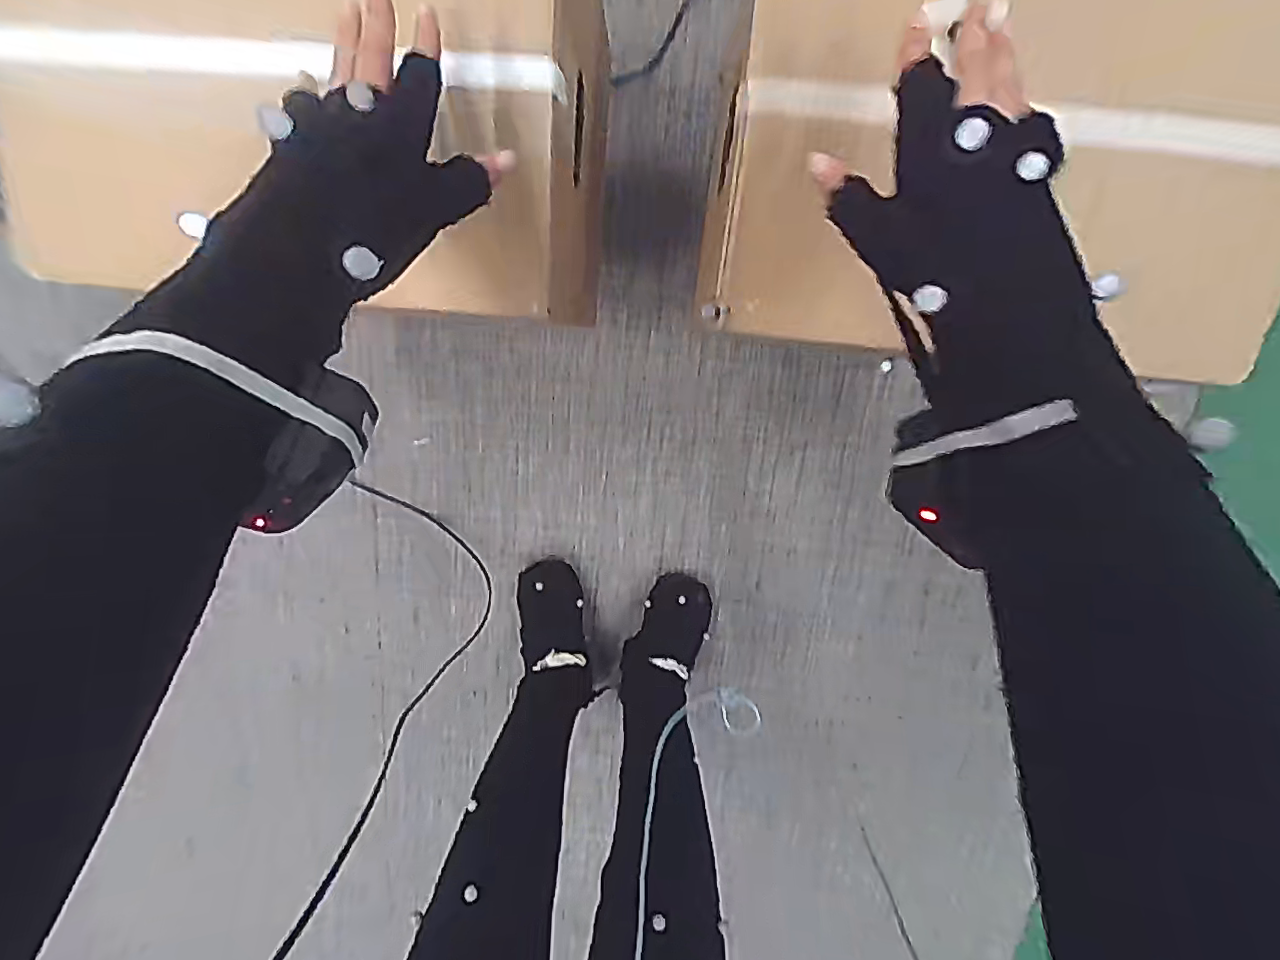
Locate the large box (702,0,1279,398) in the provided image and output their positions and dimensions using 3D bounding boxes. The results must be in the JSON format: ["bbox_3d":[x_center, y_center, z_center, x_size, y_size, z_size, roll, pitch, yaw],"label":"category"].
[{"bbox_3d":[0.289,-0.271,0.545,0.408,0.320,0.320,7,104,1],"label":"large box"}]
